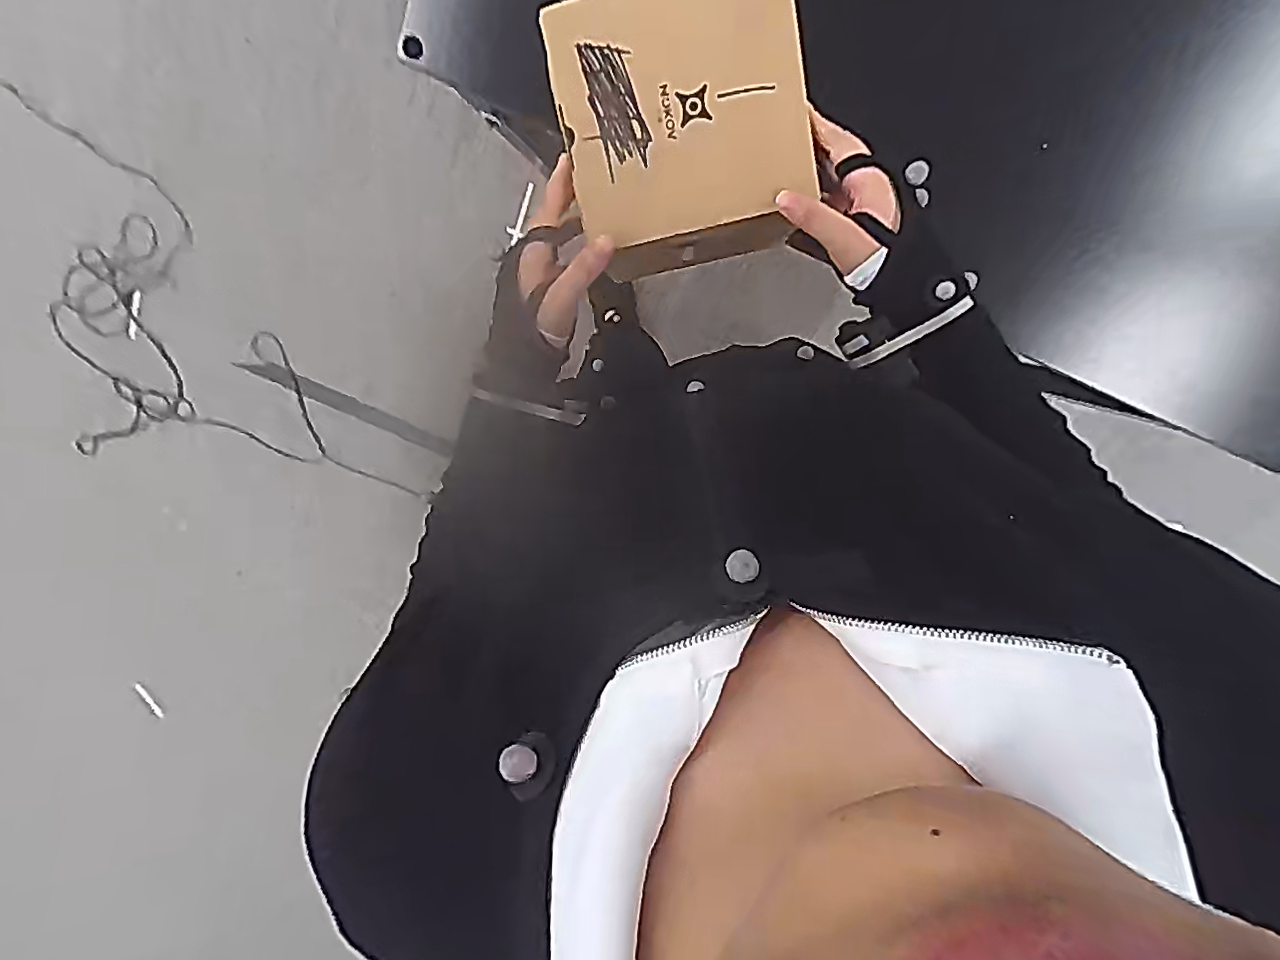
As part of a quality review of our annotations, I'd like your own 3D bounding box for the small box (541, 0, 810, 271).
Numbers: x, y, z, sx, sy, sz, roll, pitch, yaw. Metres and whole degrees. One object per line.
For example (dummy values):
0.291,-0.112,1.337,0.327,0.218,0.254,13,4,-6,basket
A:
0.033,-0.293,0.470,0.179,0.176,0.168,-10,102,6,small box
